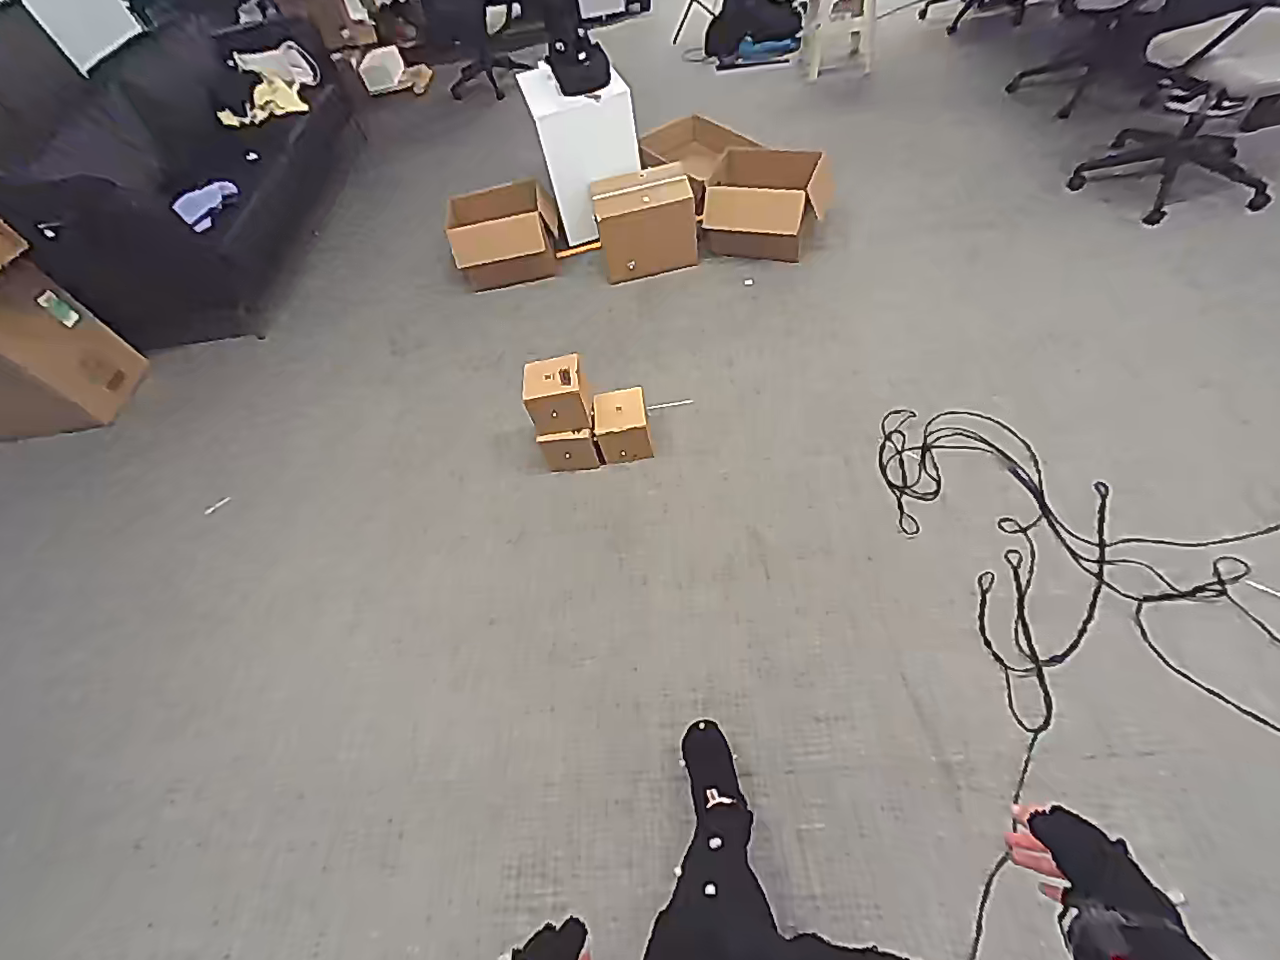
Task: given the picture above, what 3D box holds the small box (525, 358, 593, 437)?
[{"bbox_3d":[-0.249,-0.258,1.711,0.179,0.176,0.168,-10,53,6],"label":"small box"}]
